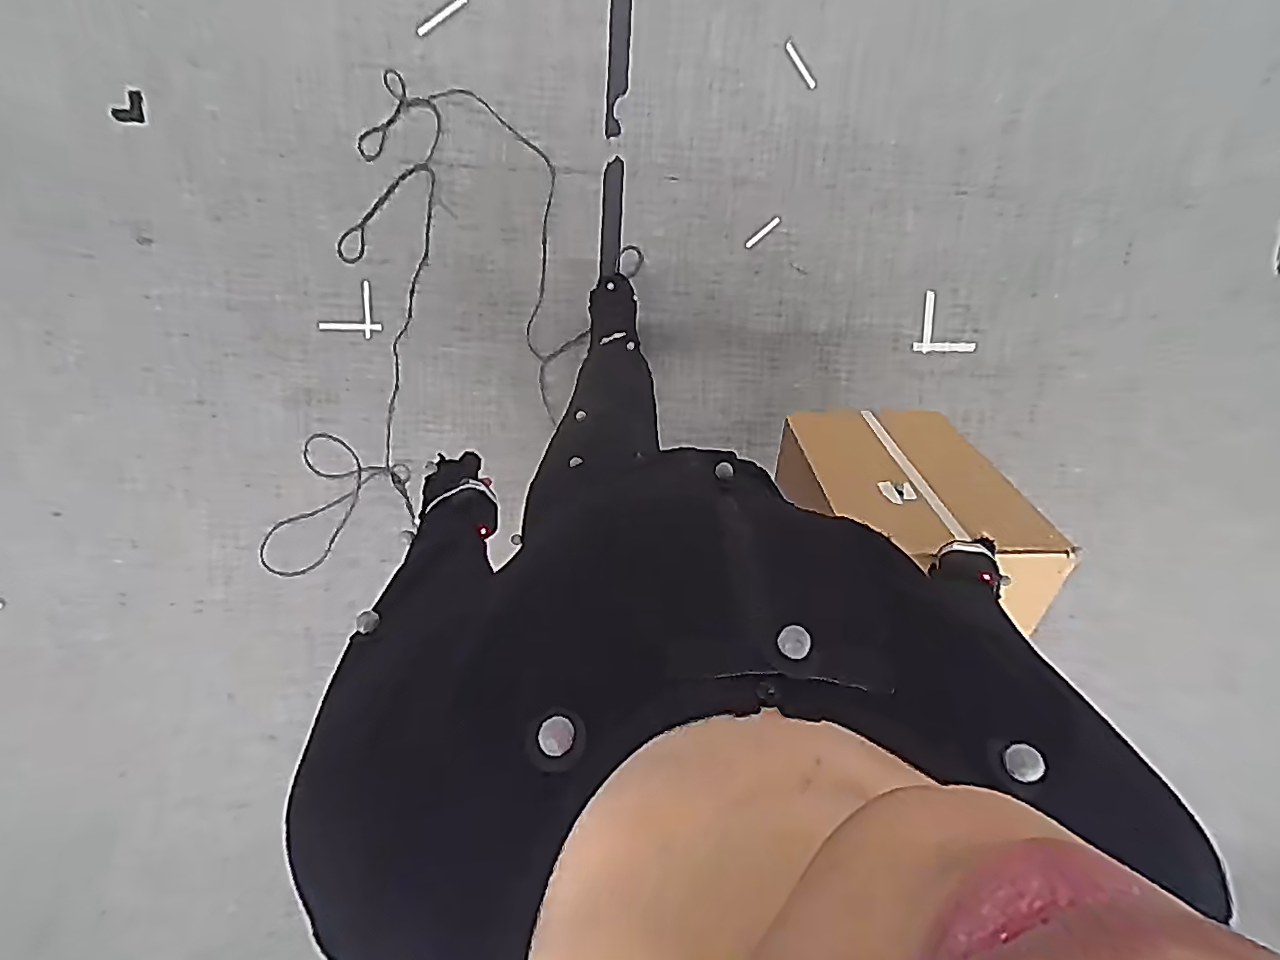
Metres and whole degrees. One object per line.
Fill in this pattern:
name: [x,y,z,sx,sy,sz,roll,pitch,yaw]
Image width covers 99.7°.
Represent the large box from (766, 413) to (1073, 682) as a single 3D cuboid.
large box: [0.448,0.110,1.001,0.320,0.408,0.320,-1,127,-2]
